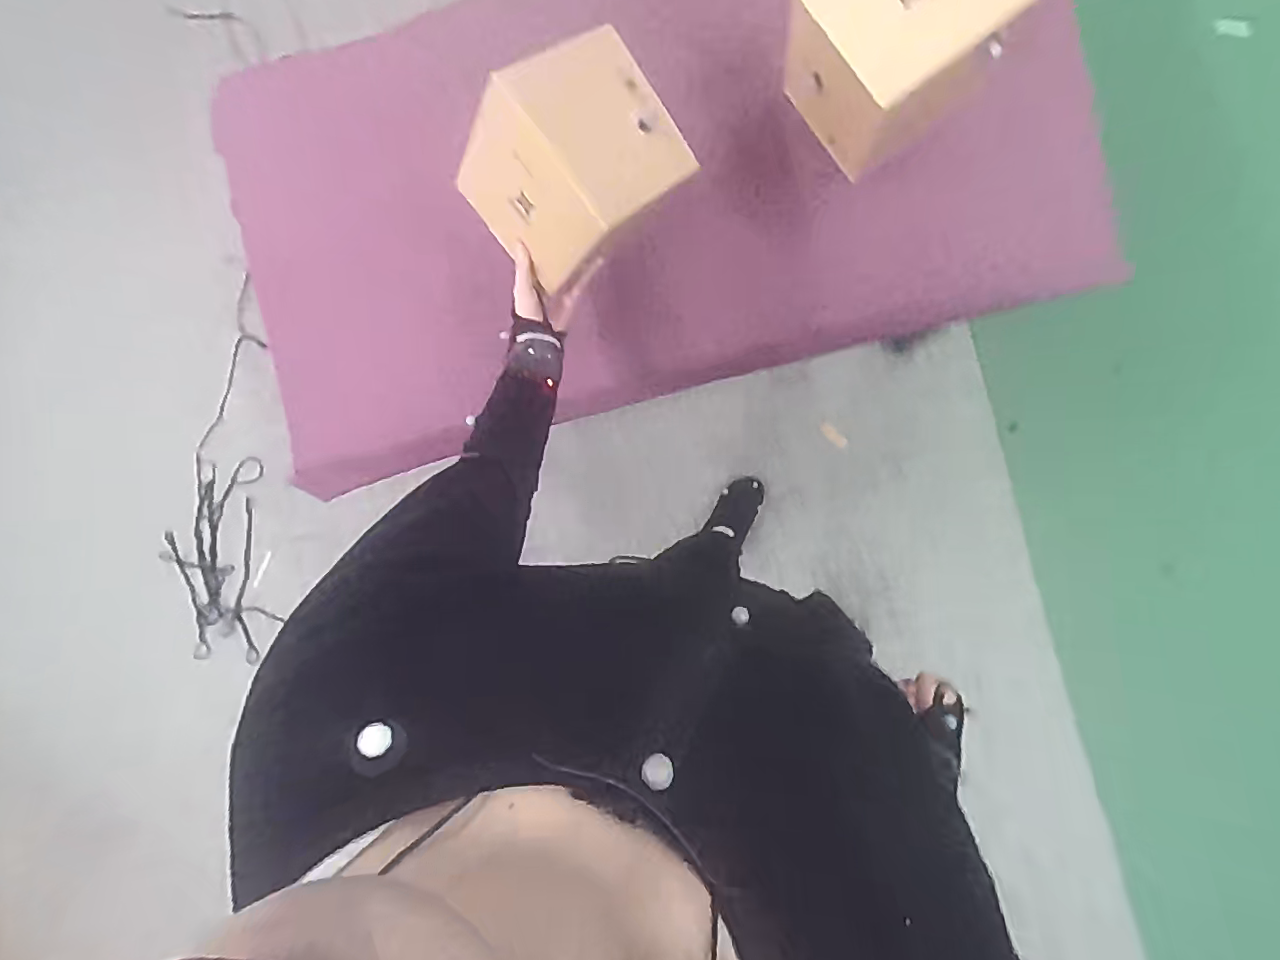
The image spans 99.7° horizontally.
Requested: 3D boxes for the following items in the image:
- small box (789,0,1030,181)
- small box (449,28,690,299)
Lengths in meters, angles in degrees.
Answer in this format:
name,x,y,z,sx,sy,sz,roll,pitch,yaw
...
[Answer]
name,x,y,z,sx,sy,sz,roll,pitch,yaw
small box,0.289,-0.497,0.629,0.179,0.176,0.168,-34,86,9
small box,-0.077,-0.339,0.600,0.176,0.179,0.168,-47,108,-25
